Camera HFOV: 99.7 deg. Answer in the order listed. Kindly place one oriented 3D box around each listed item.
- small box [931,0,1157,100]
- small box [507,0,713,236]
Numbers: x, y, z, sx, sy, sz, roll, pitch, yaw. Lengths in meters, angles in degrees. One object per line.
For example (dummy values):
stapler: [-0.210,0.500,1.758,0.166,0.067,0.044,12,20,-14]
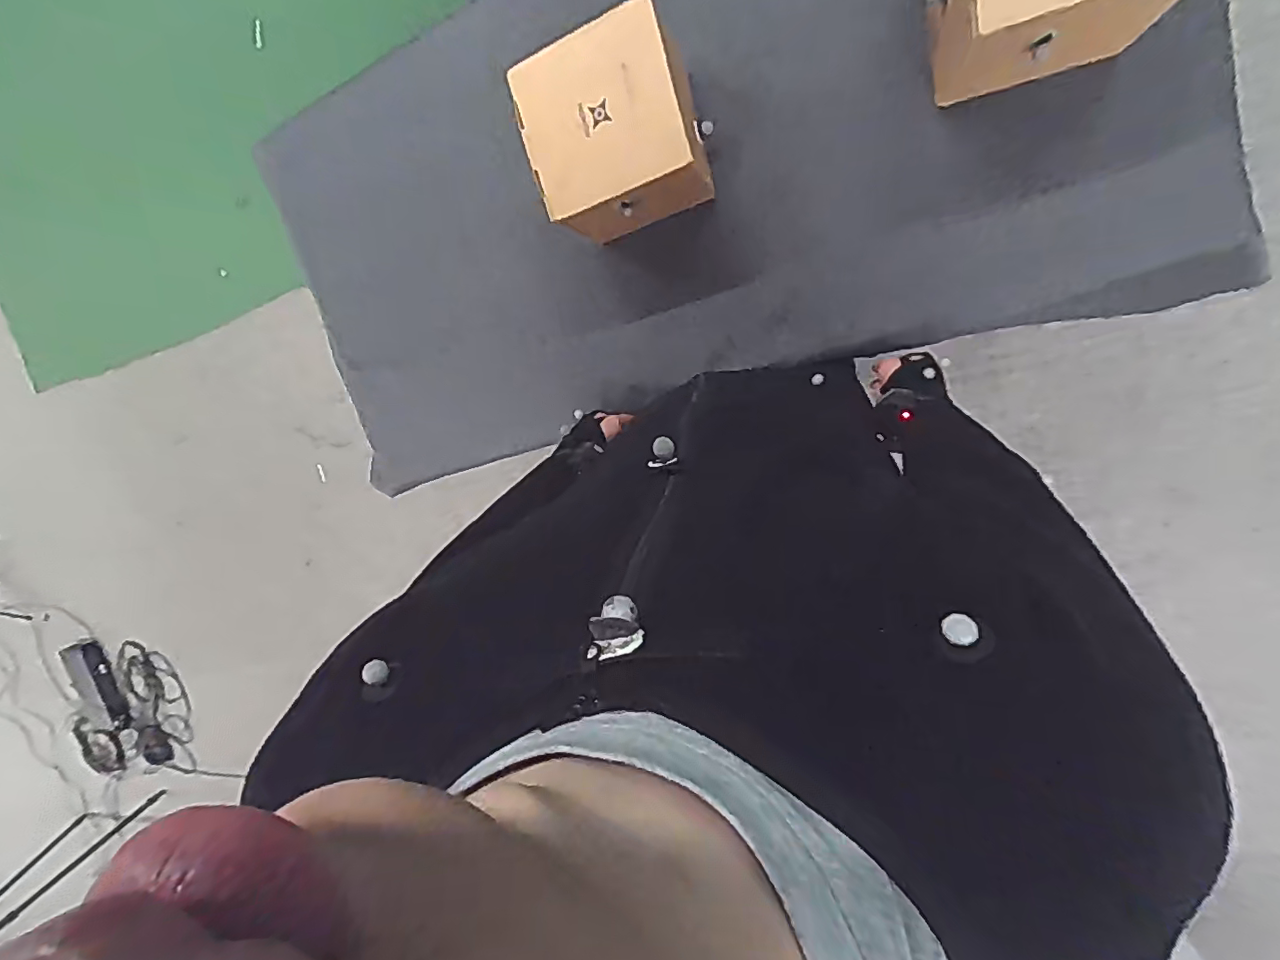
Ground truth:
small box: [0.377,-0.493,0.501,0.179,0.176,0.168,-6,104,20]
small box: [-0.025,-0.415,0.654,0.179,0.176,0.168,-13,102,19]
